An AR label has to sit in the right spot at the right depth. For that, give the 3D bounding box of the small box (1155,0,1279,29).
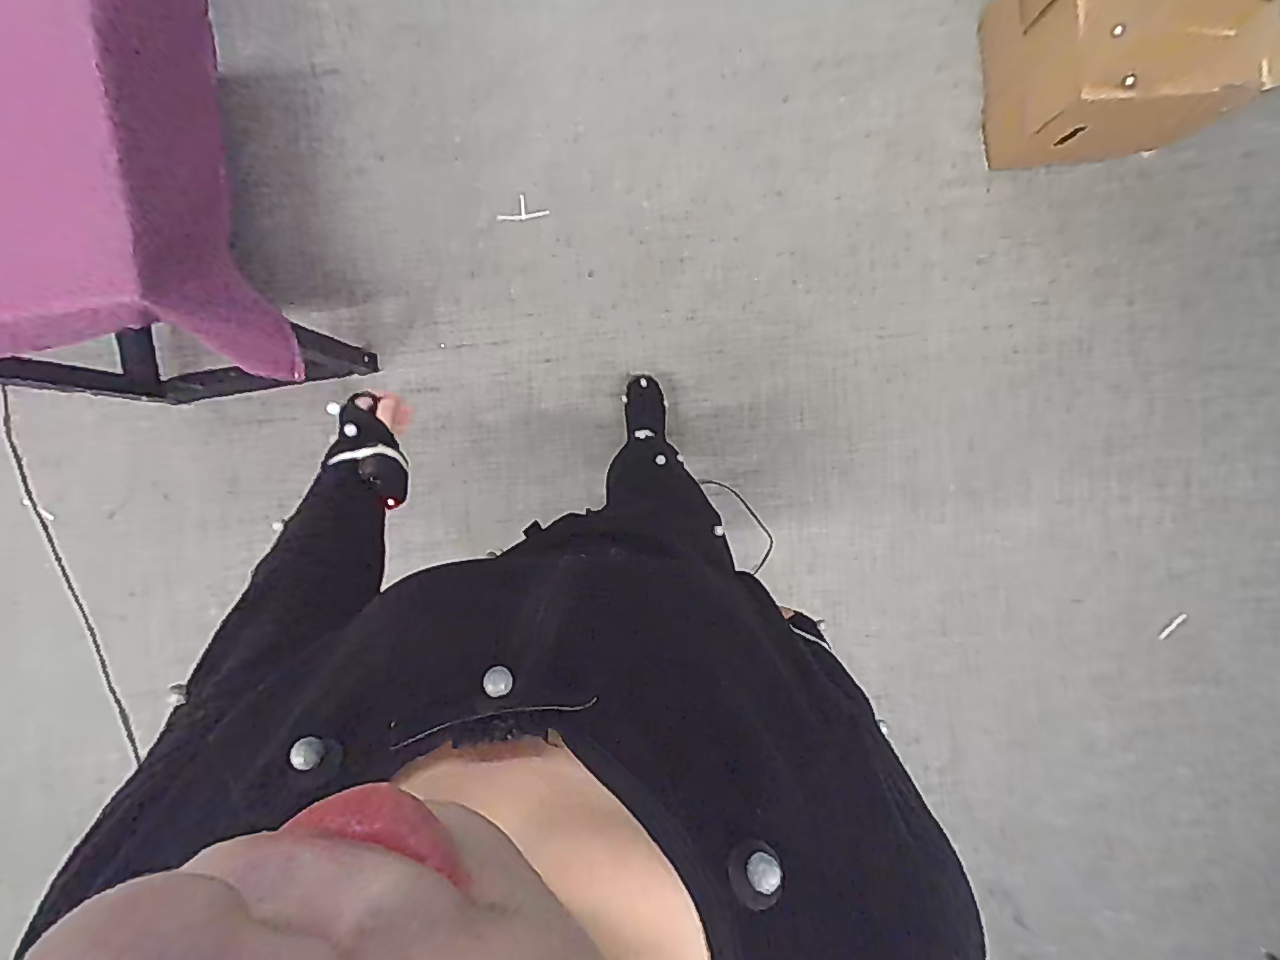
[{"bbox_3d":[1.036,-0.906,0.908,0.179,0.176,0.168,3,92,-1],"label":"small box"}]
